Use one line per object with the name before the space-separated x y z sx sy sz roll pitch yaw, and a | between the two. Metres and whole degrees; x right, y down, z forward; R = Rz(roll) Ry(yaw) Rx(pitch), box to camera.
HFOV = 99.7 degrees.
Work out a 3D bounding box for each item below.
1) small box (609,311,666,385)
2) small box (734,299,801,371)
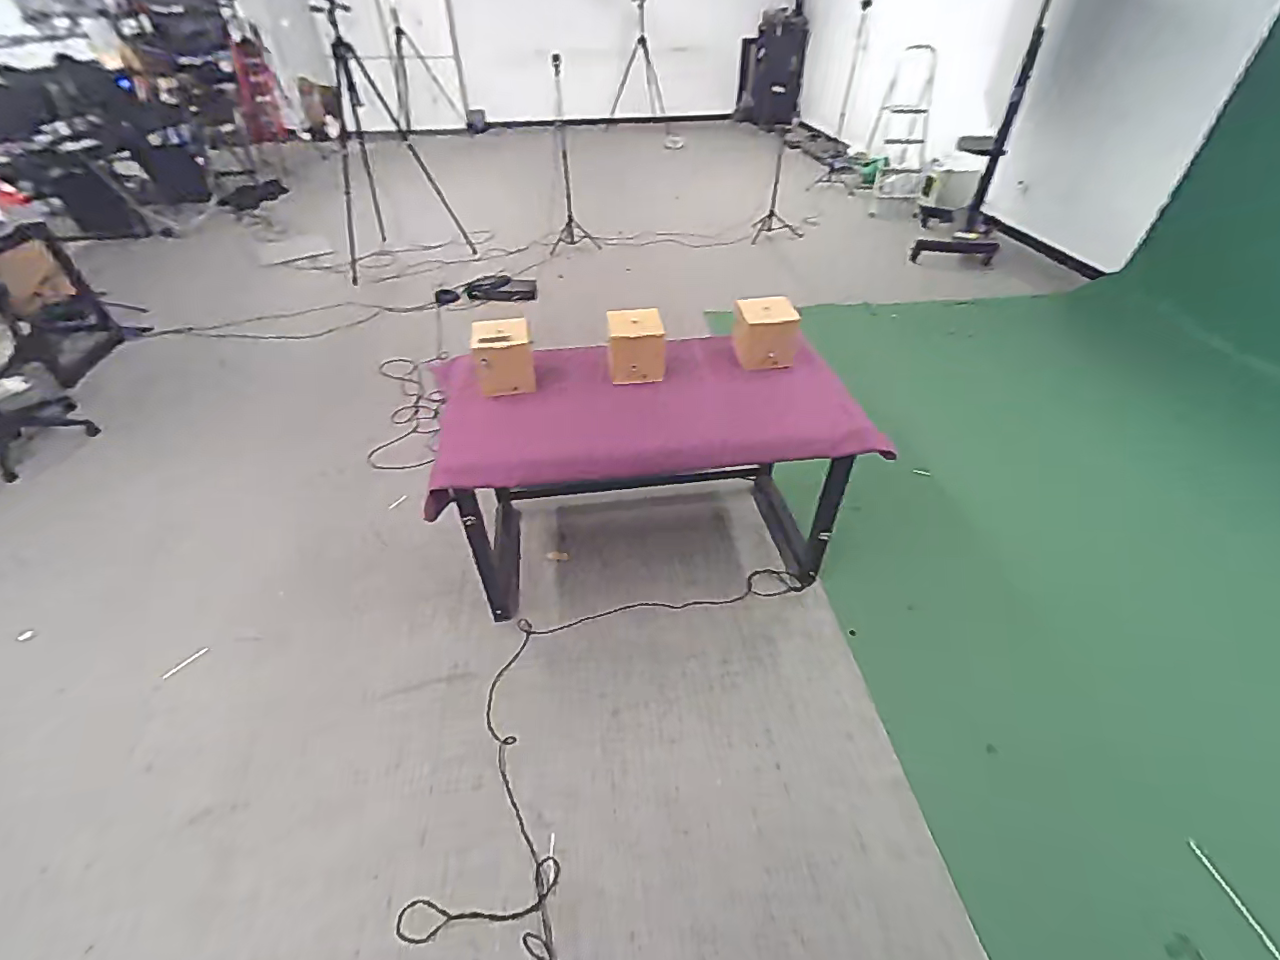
small box | -0.014 -0.420 1.718 0.168 0.176 0.179 -4 43 -5
small box | 0.409 -0.474 1.770 0.168 0.176 0.179 -6 43 -3
